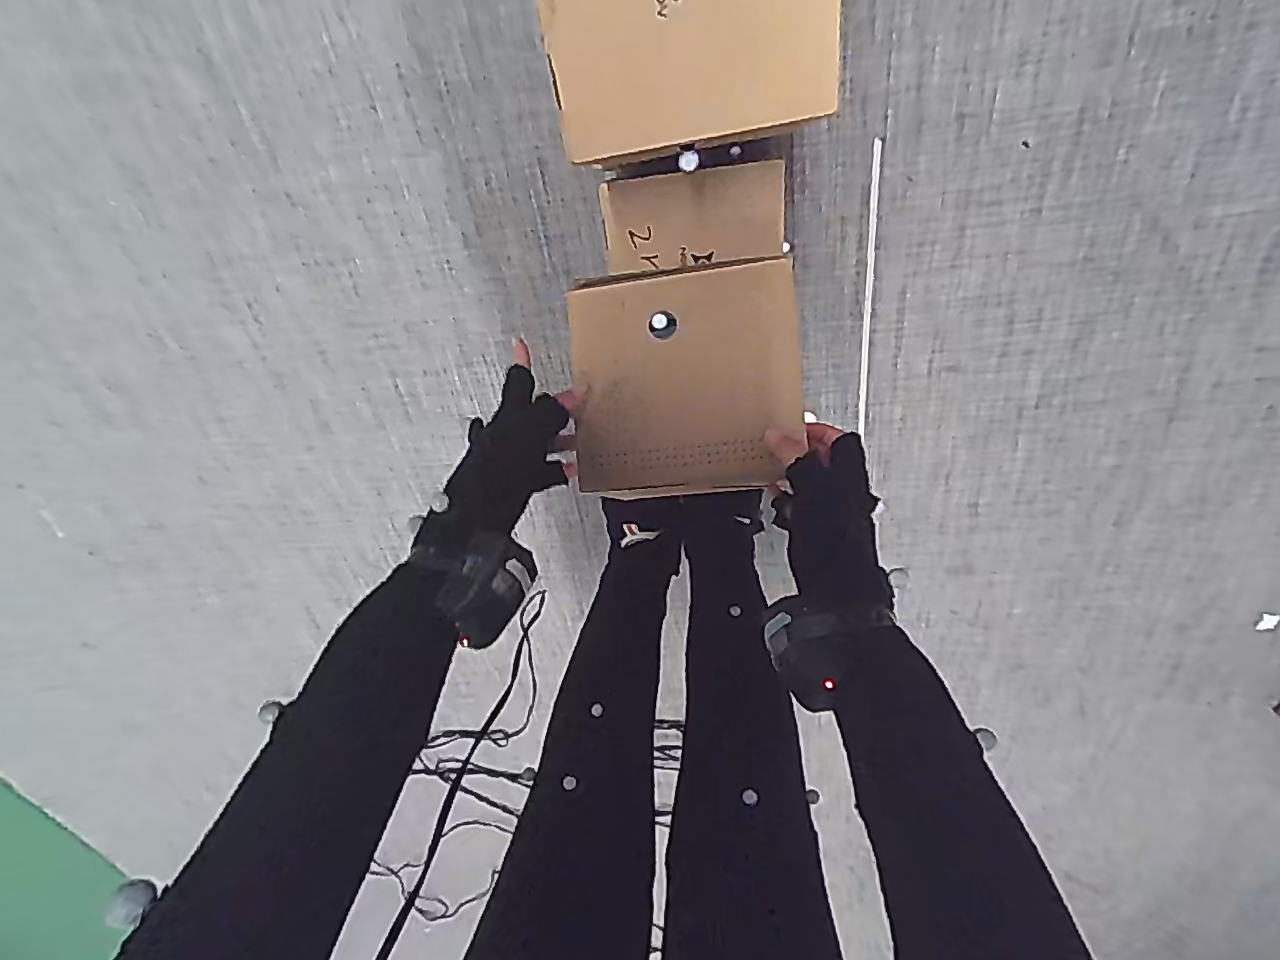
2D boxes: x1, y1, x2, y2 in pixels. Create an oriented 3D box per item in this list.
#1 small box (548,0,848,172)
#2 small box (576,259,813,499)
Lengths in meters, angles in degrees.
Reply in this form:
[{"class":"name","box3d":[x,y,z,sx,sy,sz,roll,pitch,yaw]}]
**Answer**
[{"class":"small box","box3d":[0.038,-0.328,0.383,0.179,0.176,0.168,-5,119,9]},{"class":"small box","box3d":[0.052,-0.071,0.491,0.179,0.168,0.176,-4,85,10]}]
